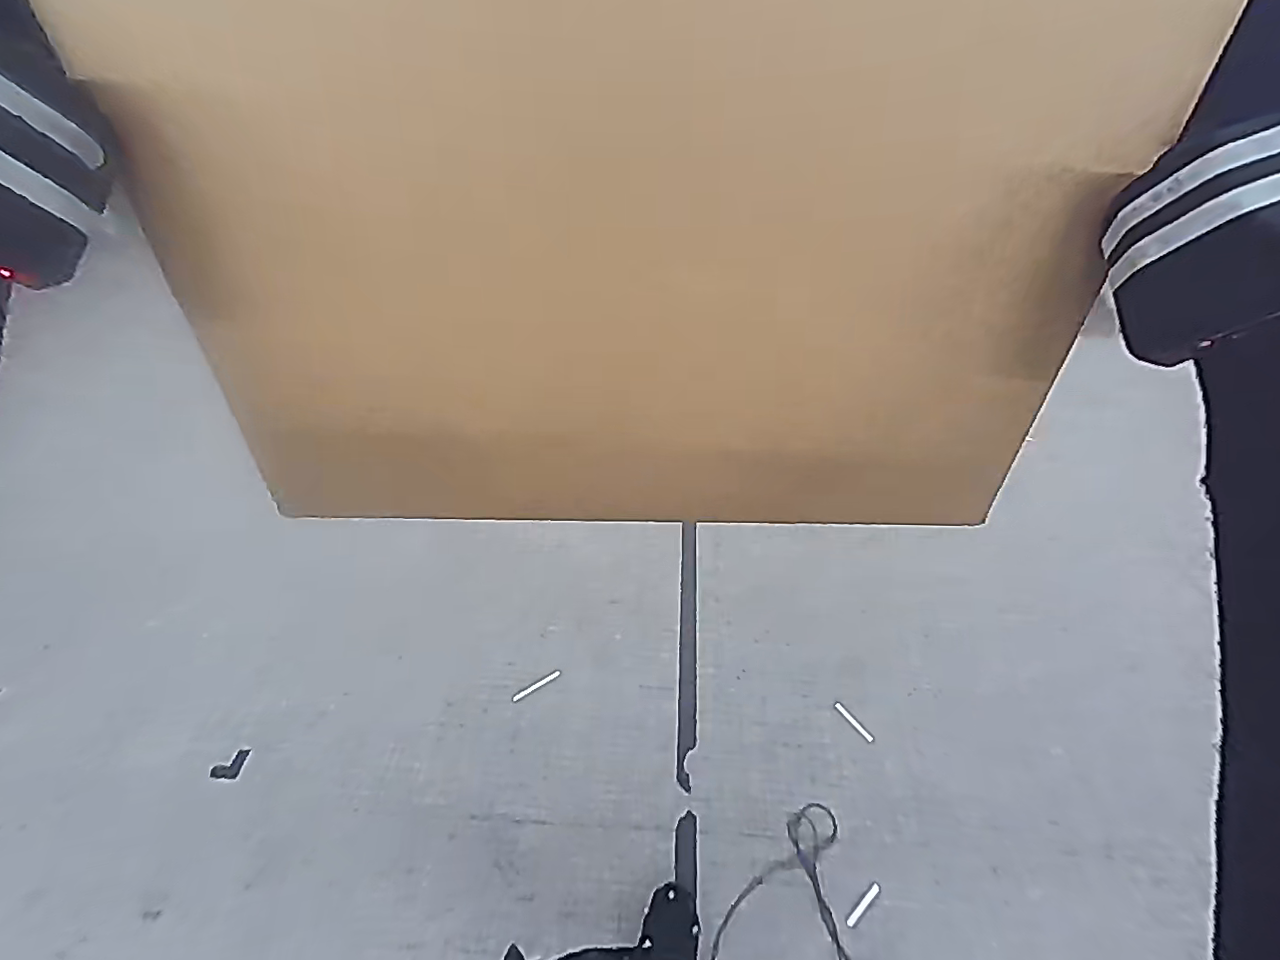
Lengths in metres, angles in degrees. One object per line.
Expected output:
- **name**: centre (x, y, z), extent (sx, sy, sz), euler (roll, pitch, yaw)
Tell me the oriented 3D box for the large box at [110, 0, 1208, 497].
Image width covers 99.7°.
- **large box**: centre (0.004, -0.199, 0.352), extent (0.408, 0.320, 0.320), euler (2, 36, -1)
